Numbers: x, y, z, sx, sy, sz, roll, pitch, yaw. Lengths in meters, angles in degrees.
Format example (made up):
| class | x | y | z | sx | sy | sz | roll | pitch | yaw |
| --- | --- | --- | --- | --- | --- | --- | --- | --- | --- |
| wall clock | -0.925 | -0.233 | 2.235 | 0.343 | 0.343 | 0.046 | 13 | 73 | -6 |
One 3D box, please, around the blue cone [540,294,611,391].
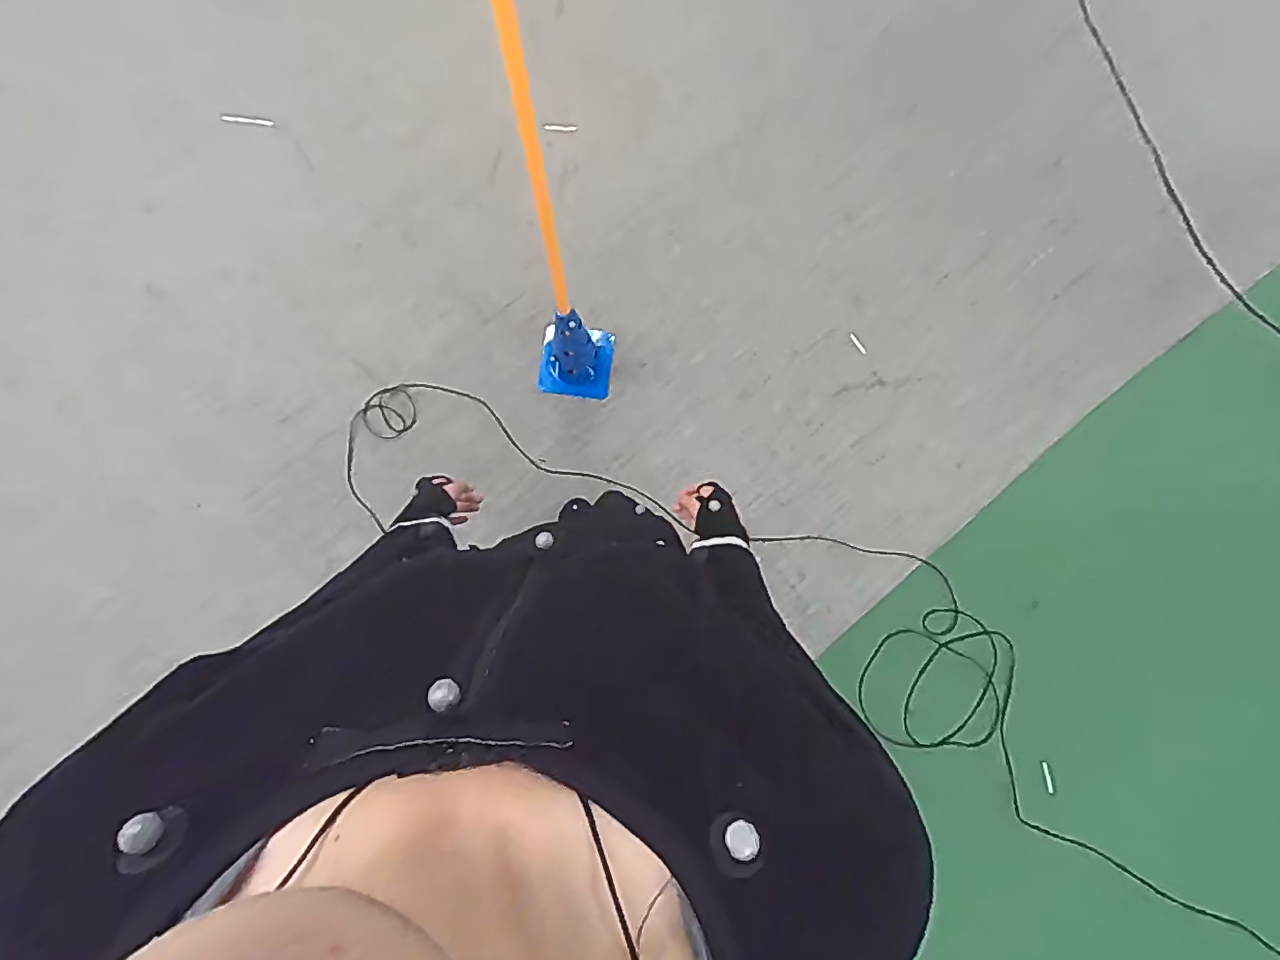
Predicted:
| class | x | y | z | sx | sy | sz | roll | pitch | yaw |
| --- | --- | --- | --- | --- | --- | --- | --- | --- | --- |
| blue cone | -0.171 | -0.366 | 1.355 | 0.192 | 0.380 | 0.193 | 6 | 83 | -3 |
